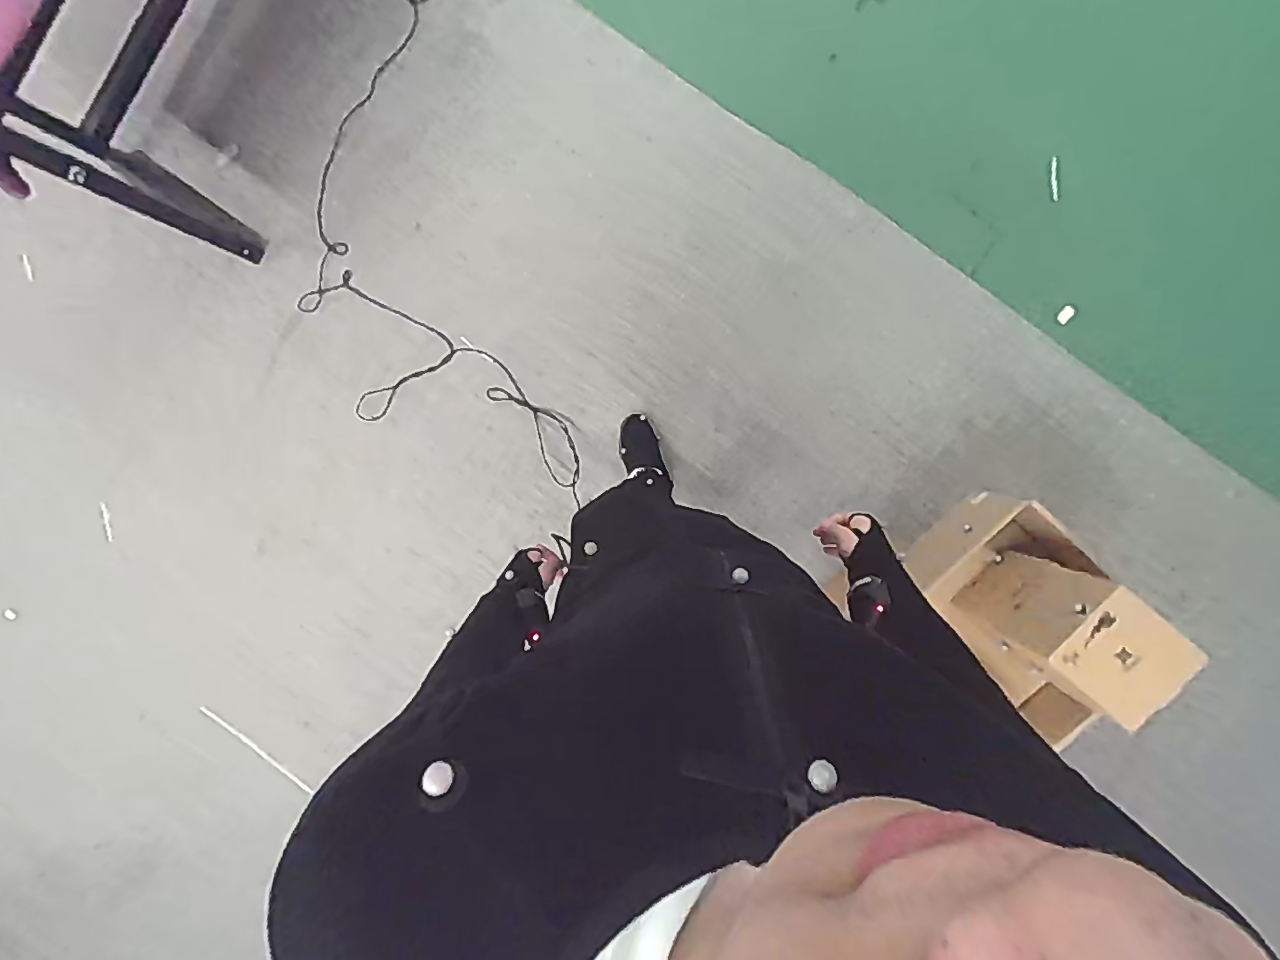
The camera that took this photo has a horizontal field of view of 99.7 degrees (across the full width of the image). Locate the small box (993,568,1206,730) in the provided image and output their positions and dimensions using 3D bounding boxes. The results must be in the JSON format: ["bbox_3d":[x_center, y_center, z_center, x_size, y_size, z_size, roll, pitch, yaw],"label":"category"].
[{"bbox_3d":[0.761,0.272,0.918,0.179,0.176,0.168,41,95,2],"label":"small box"}]
